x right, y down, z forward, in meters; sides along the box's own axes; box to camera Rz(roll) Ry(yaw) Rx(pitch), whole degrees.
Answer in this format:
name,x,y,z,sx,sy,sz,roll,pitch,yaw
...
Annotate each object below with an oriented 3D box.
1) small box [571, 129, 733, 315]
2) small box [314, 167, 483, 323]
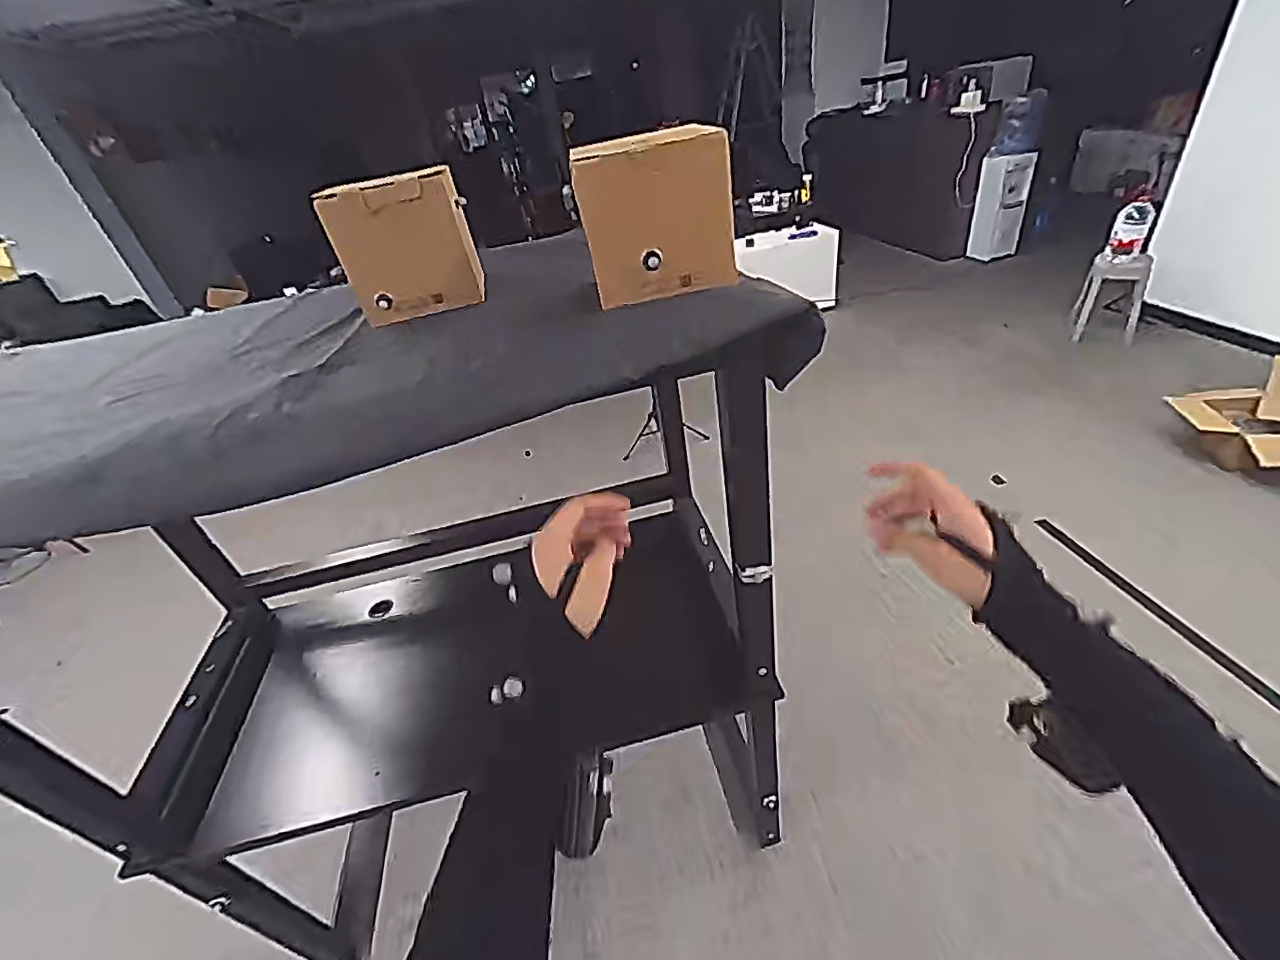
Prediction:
name,x,y,z,sx,sy,sz,roll,pitch,yaw
small box,0.013,-0.319,0.668,0.168,0.176,0.179,-12,35,0
small box,-0.336,-0.344,0.795,0.168,0.176,0.179,-15,35,-6
